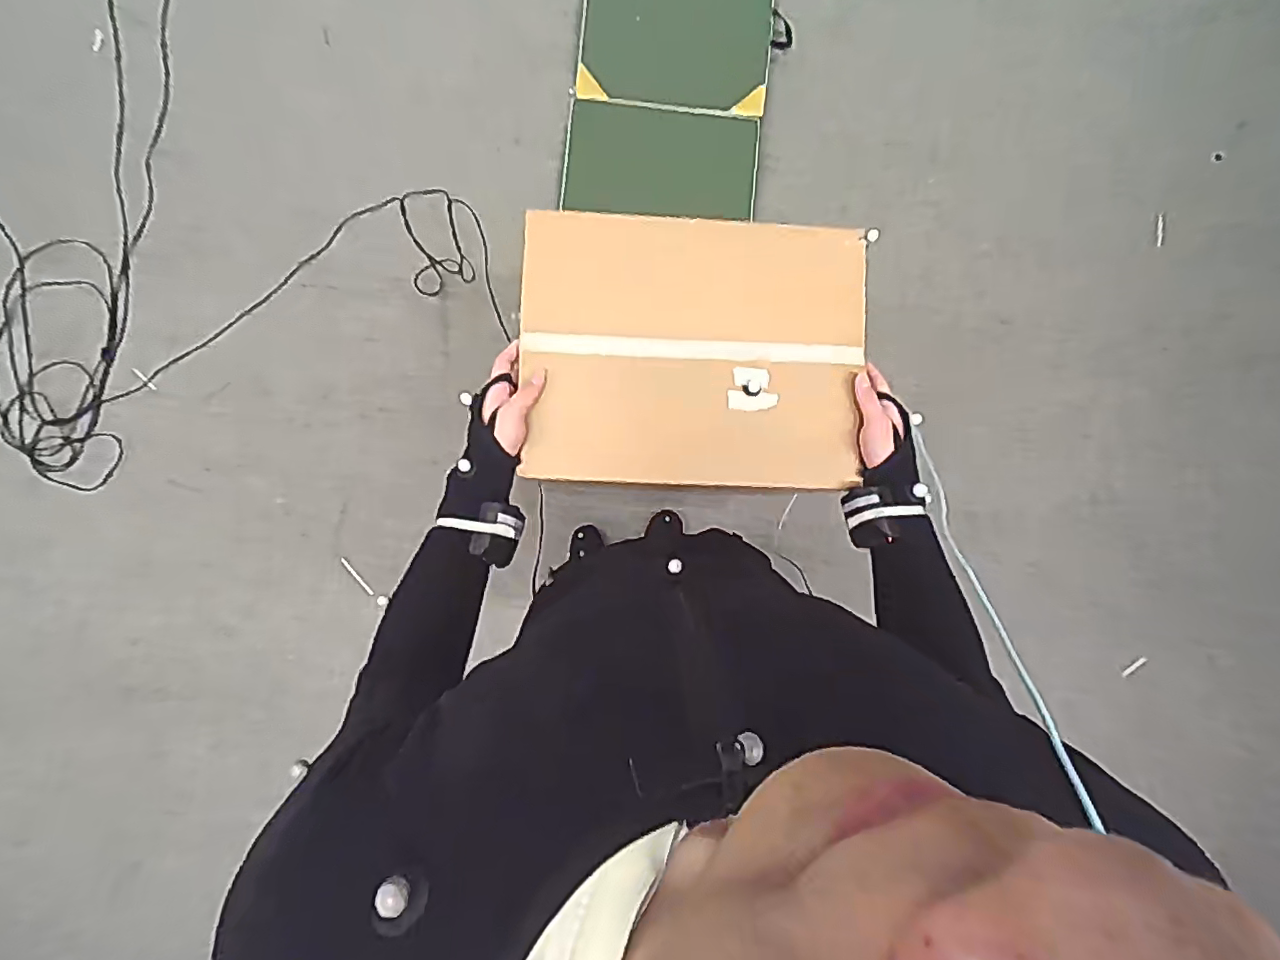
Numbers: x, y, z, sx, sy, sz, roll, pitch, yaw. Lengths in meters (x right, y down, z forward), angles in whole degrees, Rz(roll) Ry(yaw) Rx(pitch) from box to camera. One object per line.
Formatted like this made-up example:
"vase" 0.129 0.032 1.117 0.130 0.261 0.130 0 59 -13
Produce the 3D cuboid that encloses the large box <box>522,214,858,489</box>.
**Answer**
"large box" 0.054 -0.149 0.786 0.408 0.320 0.320 2 87 -3
